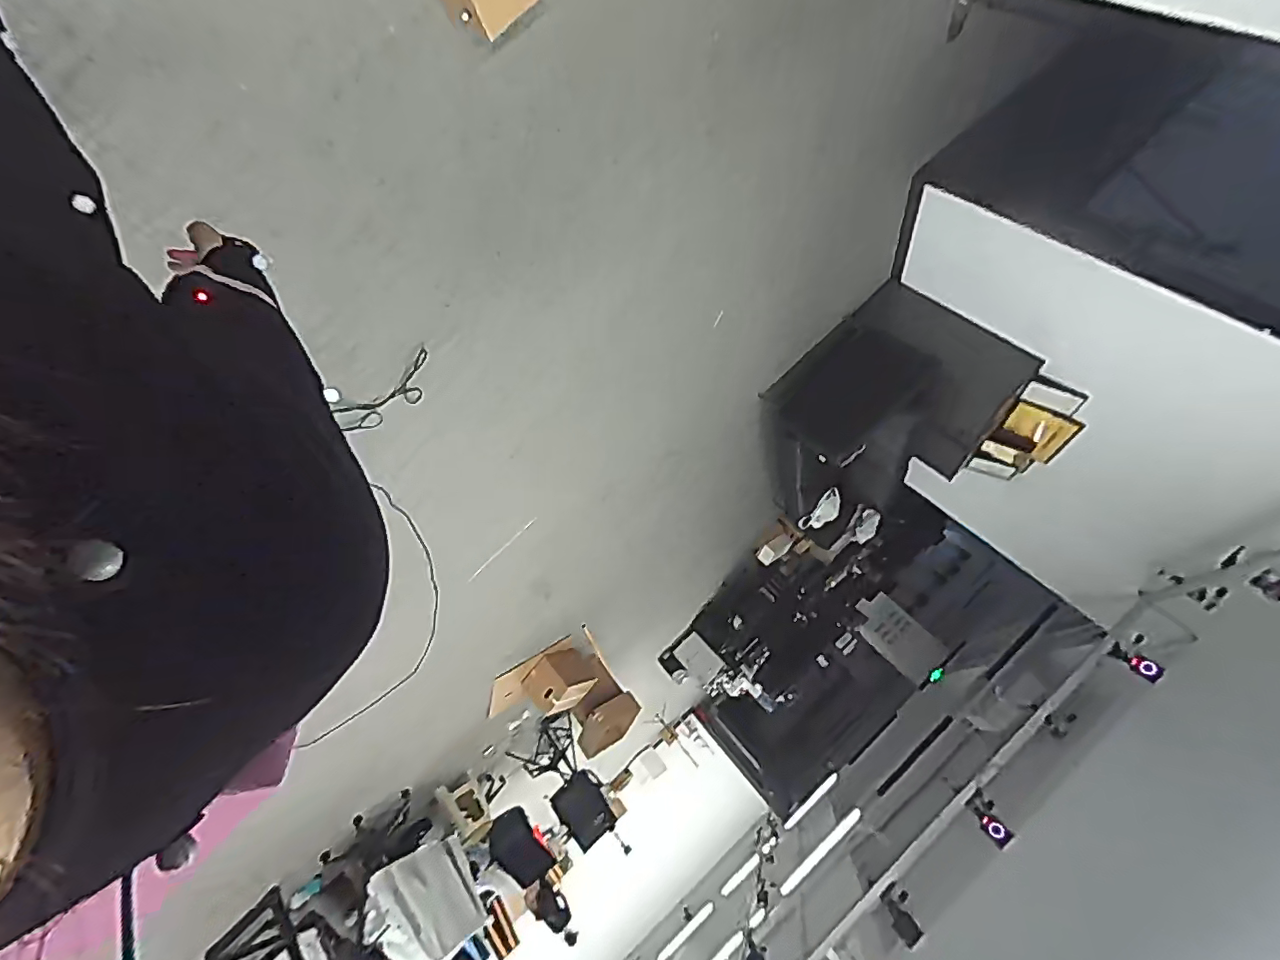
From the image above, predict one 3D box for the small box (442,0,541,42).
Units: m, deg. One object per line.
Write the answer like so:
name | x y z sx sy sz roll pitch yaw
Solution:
small box | -0.323 -1.039 1.078 0.168 0.176 0.179 -44 154 -3
